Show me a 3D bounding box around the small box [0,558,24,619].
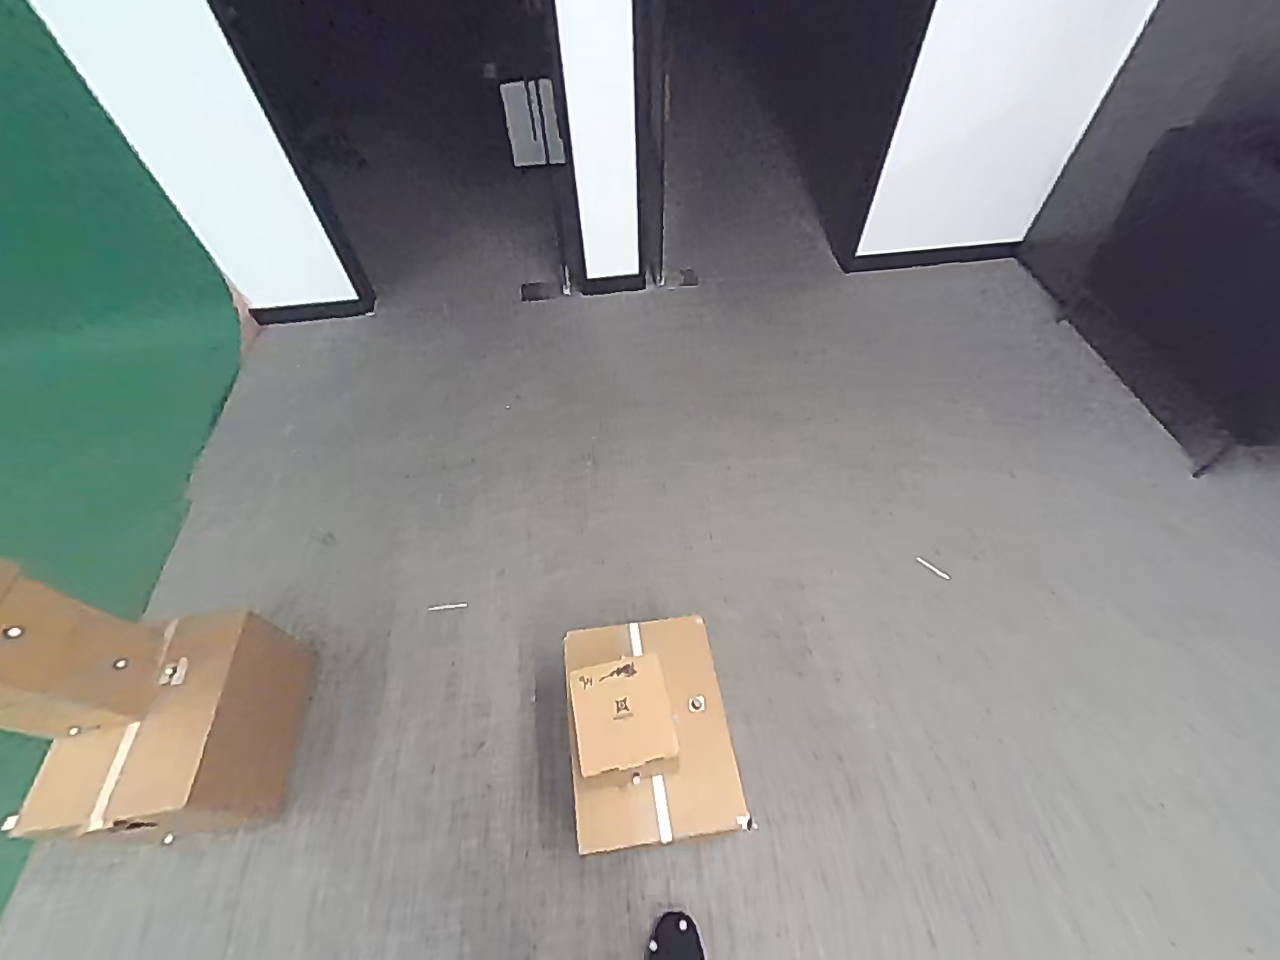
[{"bbox_3d":[-1.118,0.185,0.813,0.168,0.176,0.179,-8,55,1],"label":"small box"}]

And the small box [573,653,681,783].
[{"bbox_3d":[-0.021,0.441,0.990,0.168,0.176,0.179,-11,55,-4],"label":"small box"}]

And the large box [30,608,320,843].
[{"bbox_3d":[-1.001,0.562,1.239,0.320,0.320,0.408,-8,53,-3],"label":"large box"}]
